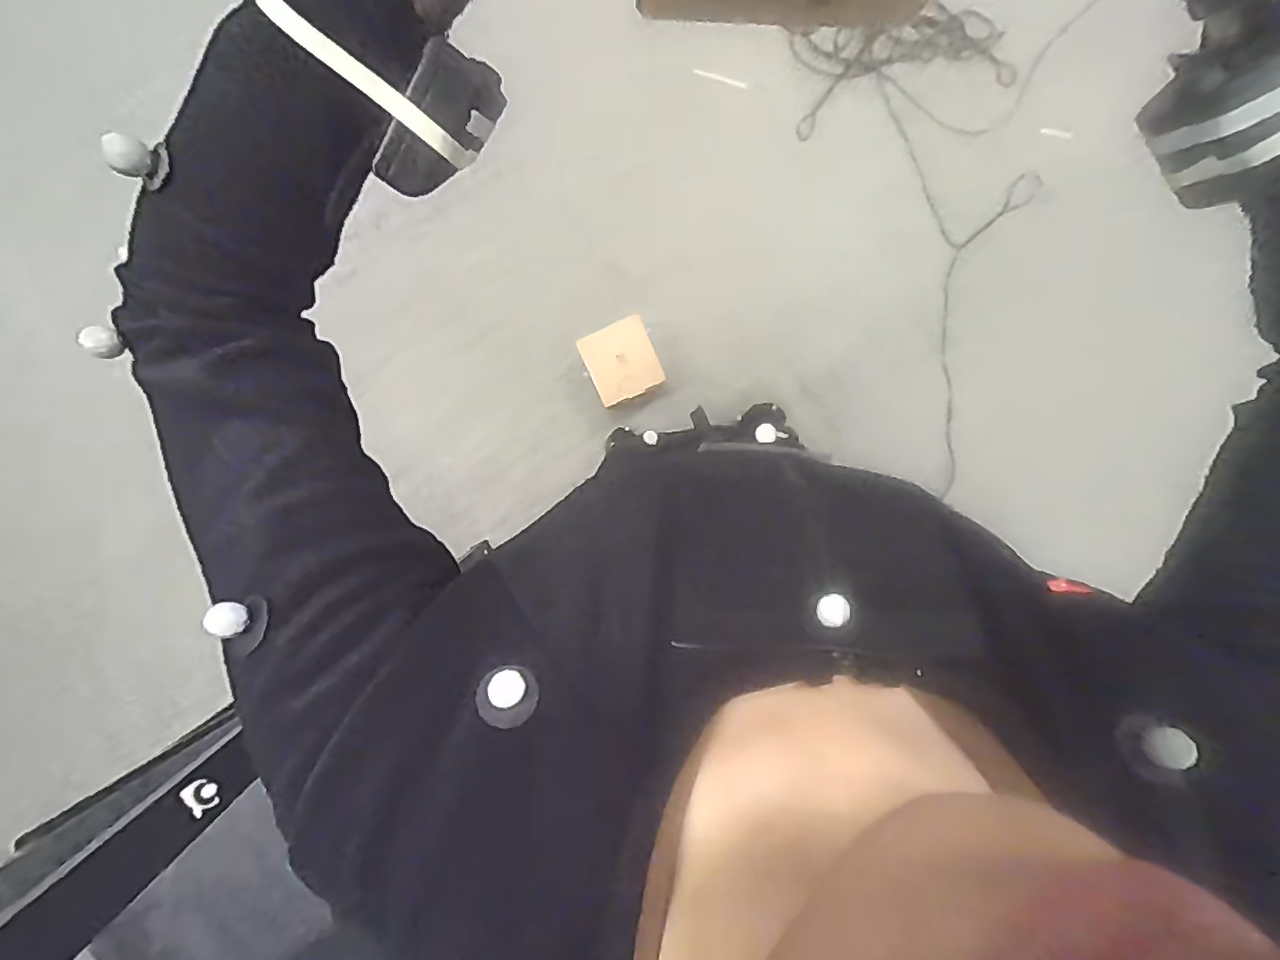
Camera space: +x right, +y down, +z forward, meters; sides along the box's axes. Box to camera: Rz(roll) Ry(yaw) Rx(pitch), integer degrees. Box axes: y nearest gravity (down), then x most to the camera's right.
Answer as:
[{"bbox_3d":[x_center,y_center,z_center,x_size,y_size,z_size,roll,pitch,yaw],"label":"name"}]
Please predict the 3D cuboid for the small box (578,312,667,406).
[{"bbox_3d":[-0.043,-0.296,1.369,0.168,0.176,0.179,-25,96,3],"label":"small box"}]
